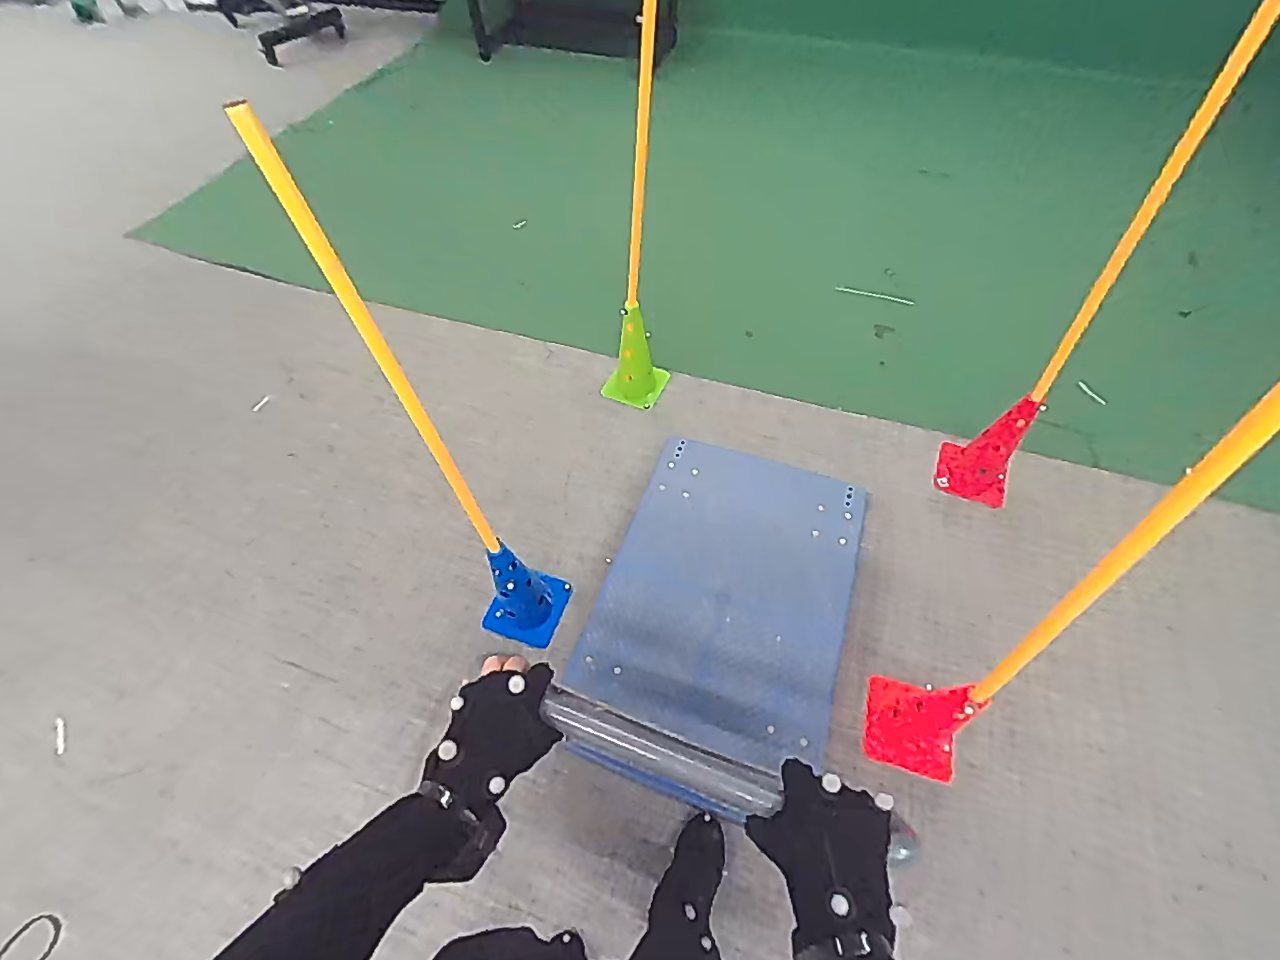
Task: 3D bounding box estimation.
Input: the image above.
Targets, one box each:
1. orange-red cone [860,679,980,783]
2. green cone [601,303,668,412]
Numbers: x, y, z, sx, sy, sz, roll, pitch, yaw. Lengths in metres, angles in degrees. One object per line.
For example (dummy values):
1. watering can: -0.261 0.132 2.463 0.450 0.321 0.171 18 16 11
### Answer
1. orange-red cone: 0.635 0.506 1.173 0.199 0.360 0.198 15 57 13
2. green cone: -0.024 -0.435 1.821 0.202 0.368 0.200 19 58 15
